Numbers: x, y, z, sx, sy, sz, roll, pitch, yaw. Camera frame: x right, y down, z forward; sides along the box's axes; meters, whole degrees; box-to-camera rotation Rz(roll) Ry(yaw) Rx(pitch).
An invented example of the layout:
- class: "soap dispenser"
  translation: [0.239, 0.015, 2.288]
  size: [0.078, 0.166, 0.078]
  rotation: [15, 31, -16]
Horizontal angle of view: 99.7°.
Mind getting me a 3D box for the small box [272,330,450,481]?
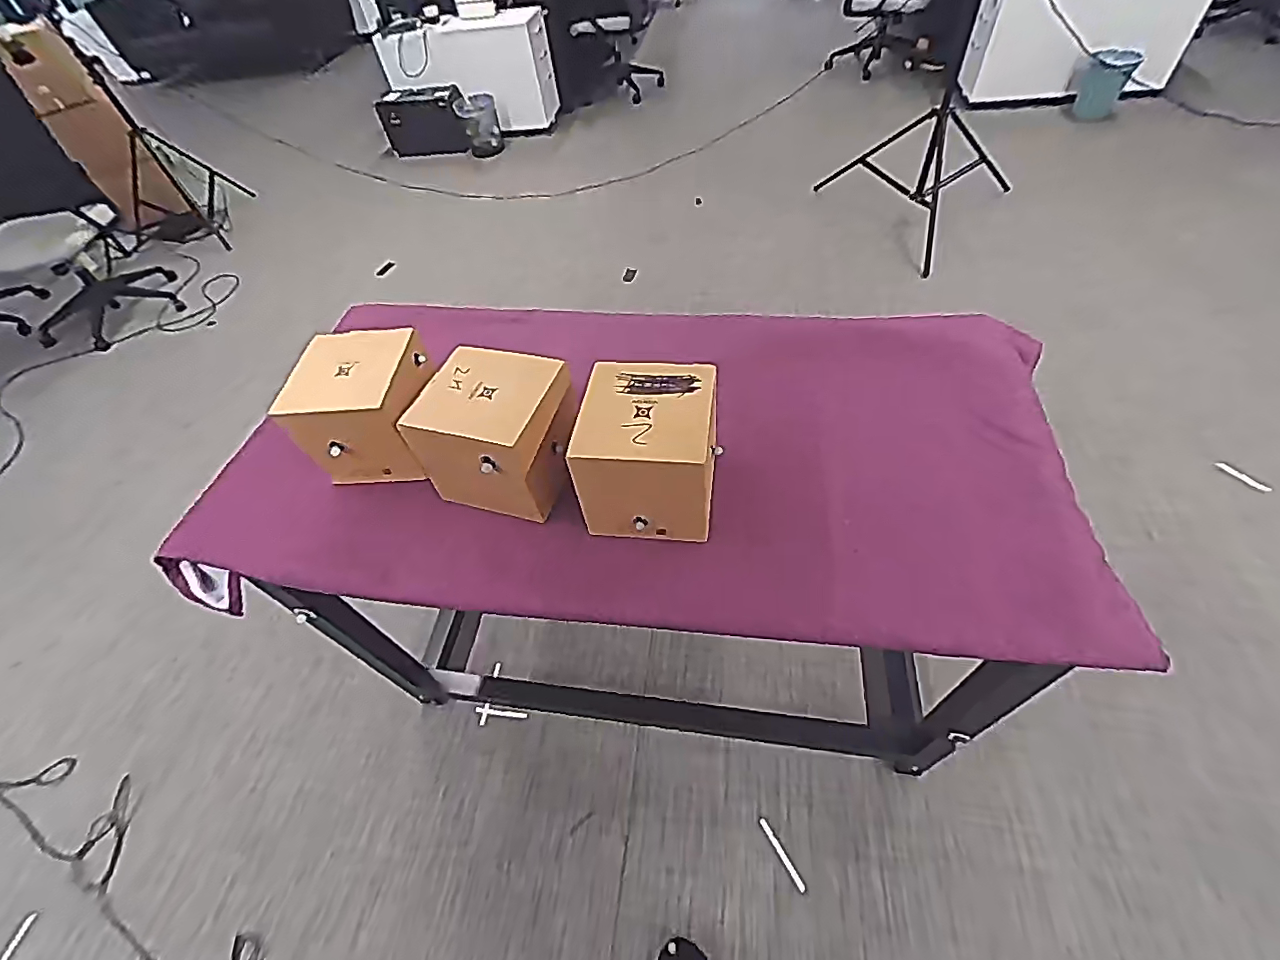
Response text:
- class: "small box"
  translation: [-0.421, -0.109, 0.853]
  size: [0.168, 0.176, 0.179]
  rotation: [-4, 52, 5]
